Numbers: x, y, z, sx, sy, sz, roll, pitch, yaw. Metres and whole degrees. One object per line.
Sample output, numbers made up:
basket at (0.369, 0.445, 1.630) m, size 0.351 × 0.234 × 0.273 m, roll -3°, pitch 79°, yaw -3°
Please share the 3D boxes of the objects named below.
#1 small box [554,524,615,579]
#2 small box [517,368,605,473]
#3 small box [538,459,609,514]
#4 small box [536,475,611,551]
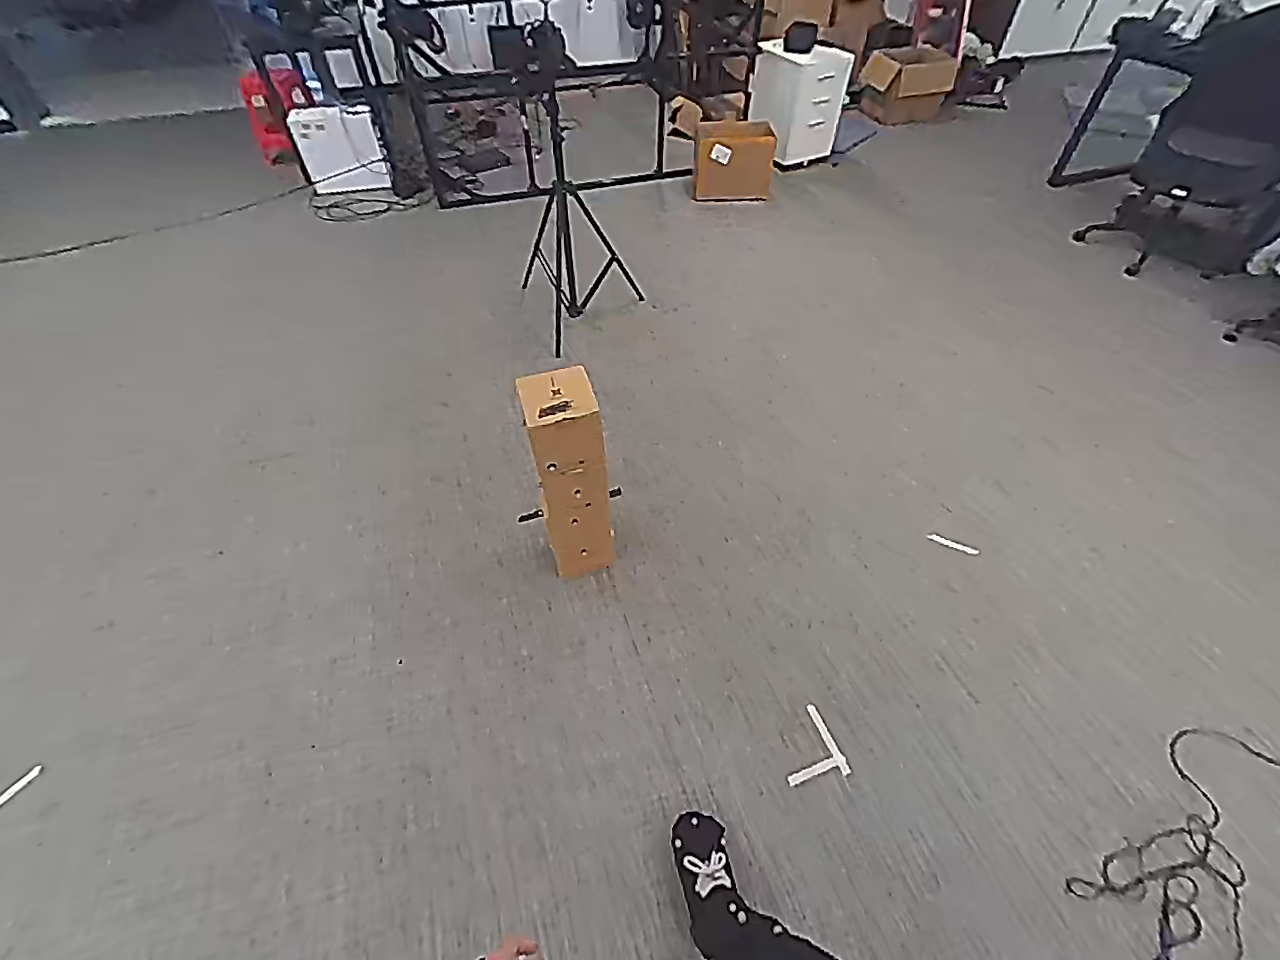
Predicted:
small box at (-0.180, 0.181, 1.664) m, size 0.179 × 0.176 × 0.168 m, roll -14°, pitch 52°, yaw -11°
small box at (-0.184, -0.135, 1.286) m, size 0.168 × 0.176 × 0.179 m, roll -14°, pitch 51°, yaw -11°
small box at (-0.179, -0.029, 1.412) m, size 0.168 × 0.176 × 0.179 m, roll -13°, pitch 52°, yaw -10°
small box at (-0.186, 0.080, 1.534) m, size 0.179 × 0.176 × 0.168 m, roll -13°, pitch 52°, yaw -10°
